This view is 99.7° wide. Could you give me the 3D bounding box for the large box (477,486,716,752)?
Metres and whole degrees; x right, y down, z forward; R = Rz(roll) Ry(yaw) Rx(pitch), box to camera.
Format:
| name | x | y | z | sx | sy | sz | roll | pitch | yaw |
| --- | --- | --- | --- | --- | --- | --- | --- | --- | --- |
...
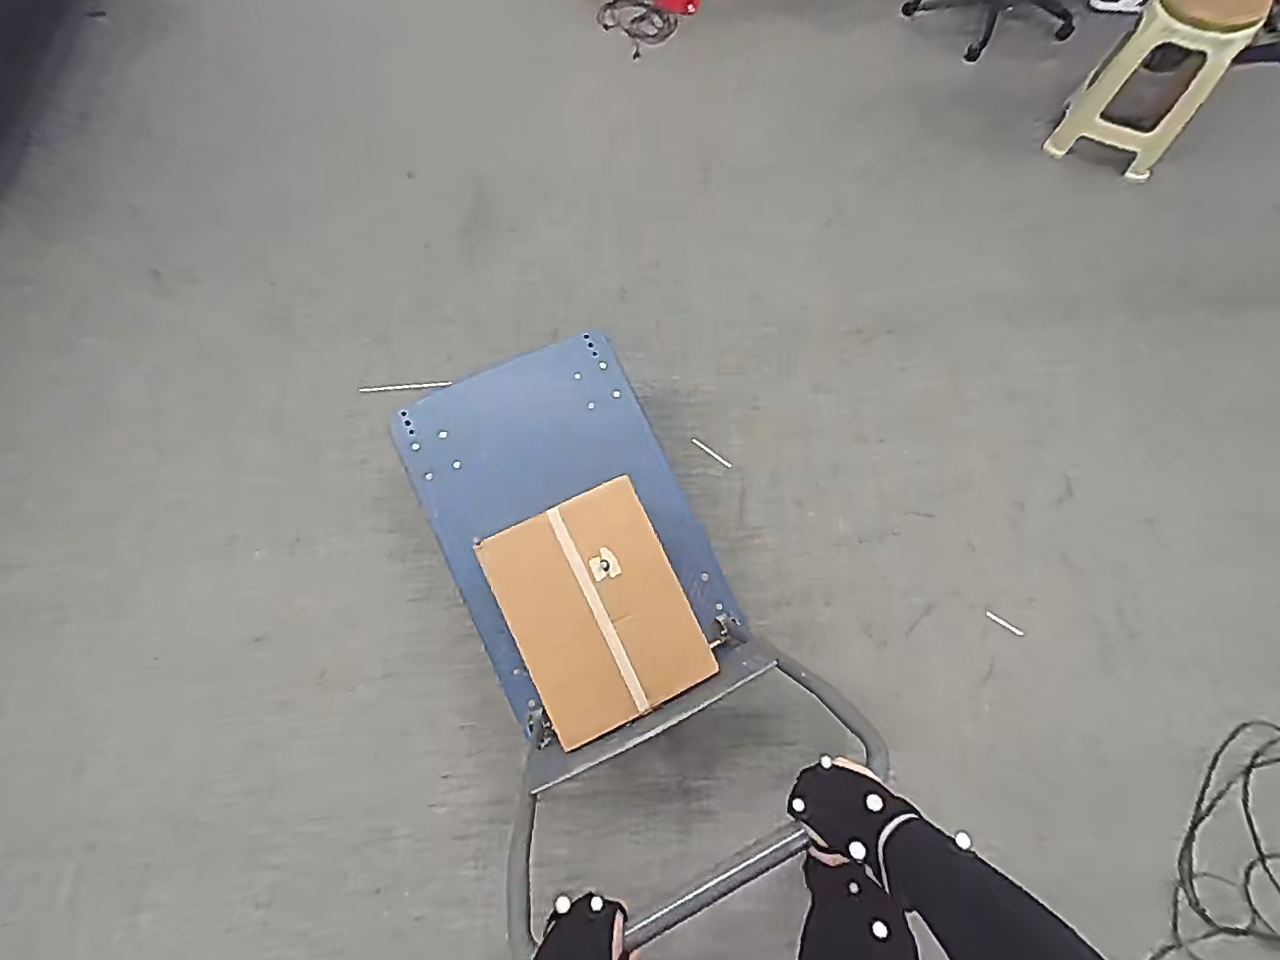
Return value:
| name | x | y | z | sx | sy | sz | roll | pitch | yaw |
| --- | --- | --- | --- | --- | --- | --- | --- | --- | --- |
| large box | -0.089 | 0.271 | 1.152 | 0.320 | 0.320 | 0.408 | -26 | 85 | -8 |
